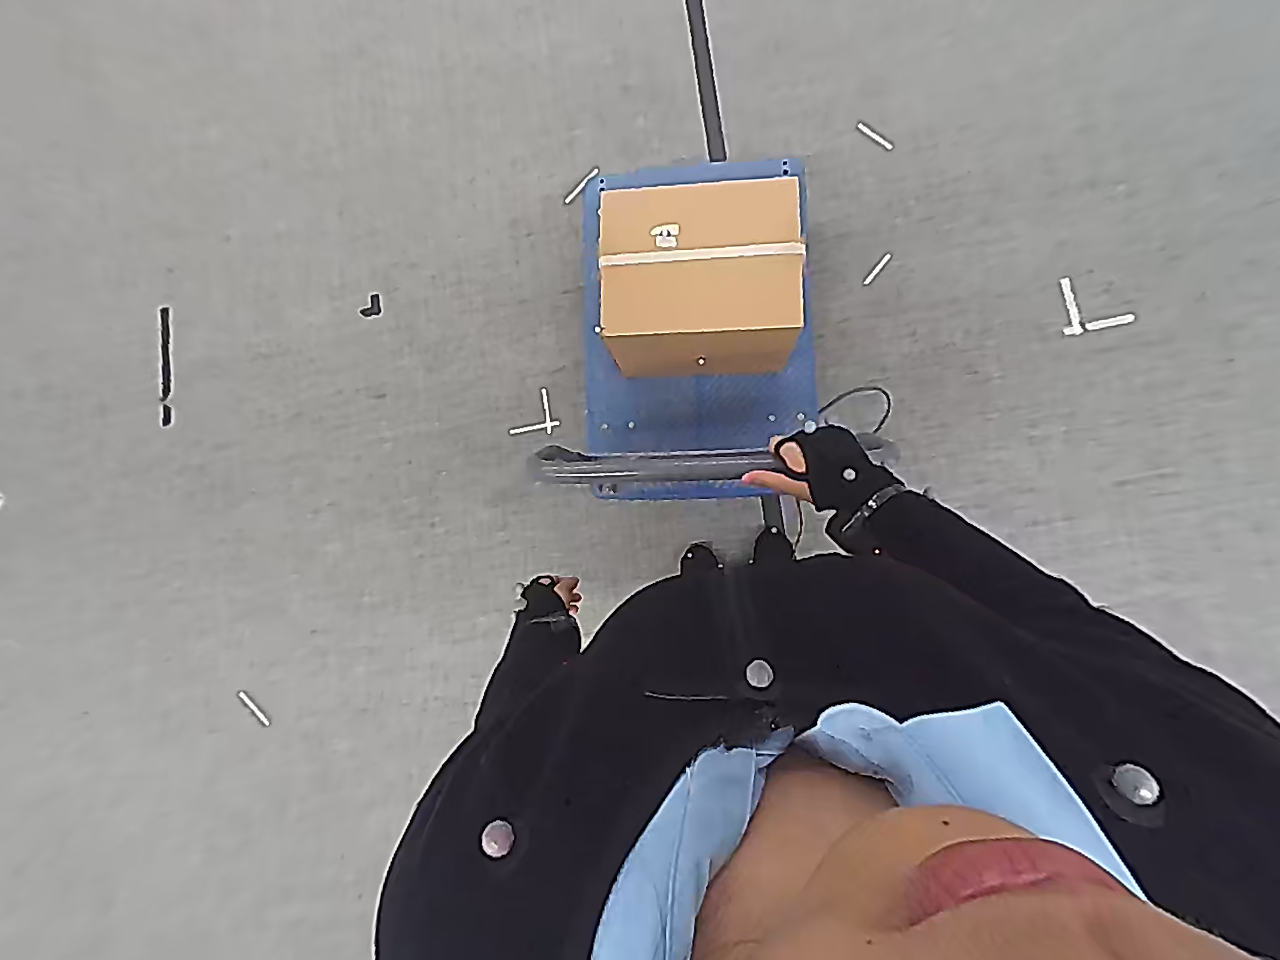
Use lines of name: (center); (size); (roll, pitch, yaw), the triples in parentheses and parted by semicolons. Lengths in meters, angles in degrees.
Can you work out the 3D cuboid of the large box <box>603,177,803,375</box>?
large box: (0.143, -0.441, 1.251); (0.408, 0.320, 0.320); (-2, 84, 8)
